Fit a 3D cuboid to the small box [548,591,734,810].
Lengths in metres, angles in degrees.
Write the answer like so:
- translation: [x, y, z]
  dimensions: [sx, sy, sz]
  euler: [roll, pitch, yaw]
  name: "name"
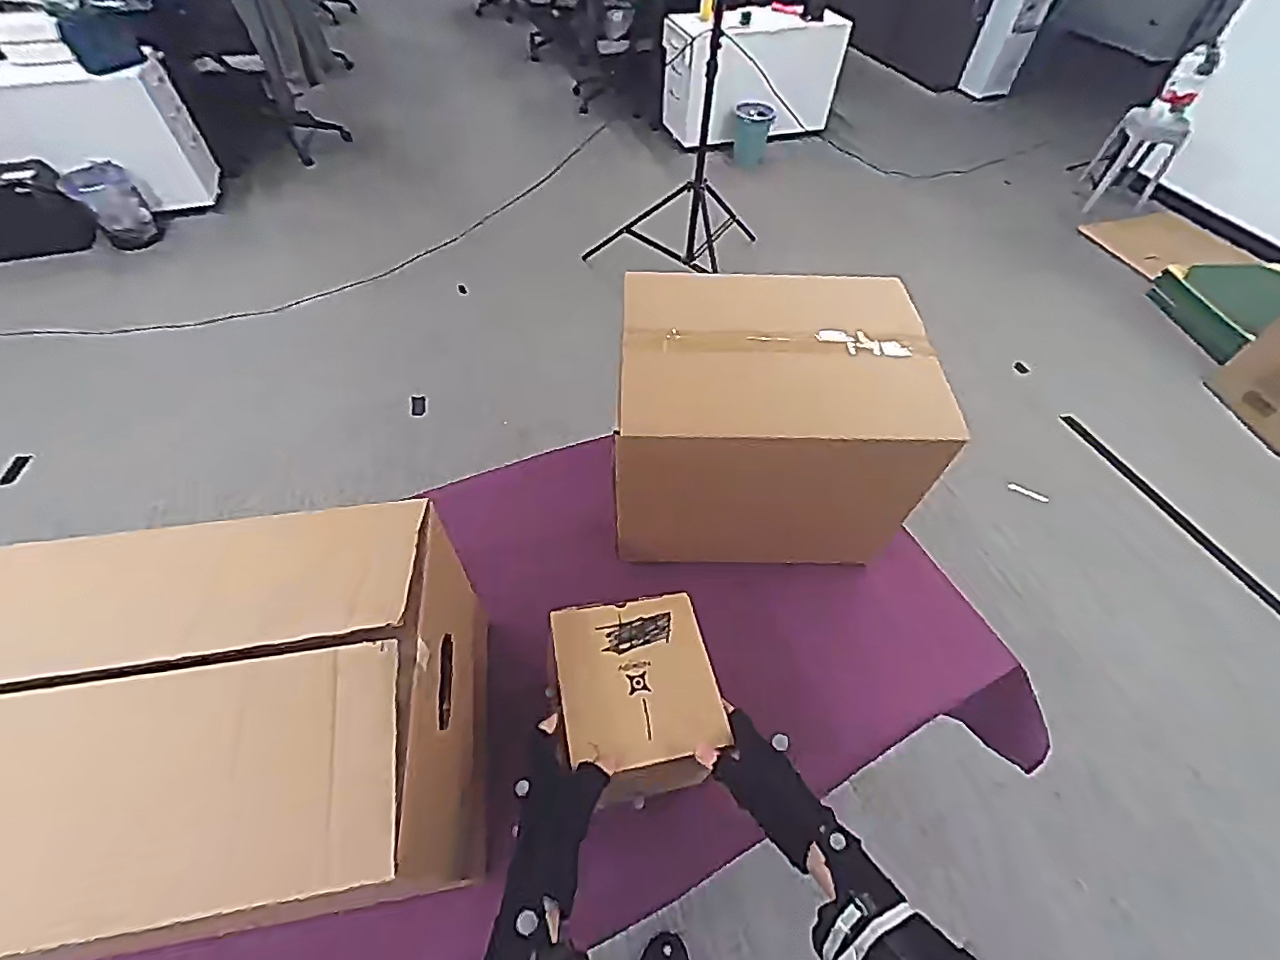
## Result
- translation: [-0.014, 0.252, 0.625]
  dimensions: [0.168, 0.176, 0.179]
  euler: [-4, 50, -15]
  name: "small box"
